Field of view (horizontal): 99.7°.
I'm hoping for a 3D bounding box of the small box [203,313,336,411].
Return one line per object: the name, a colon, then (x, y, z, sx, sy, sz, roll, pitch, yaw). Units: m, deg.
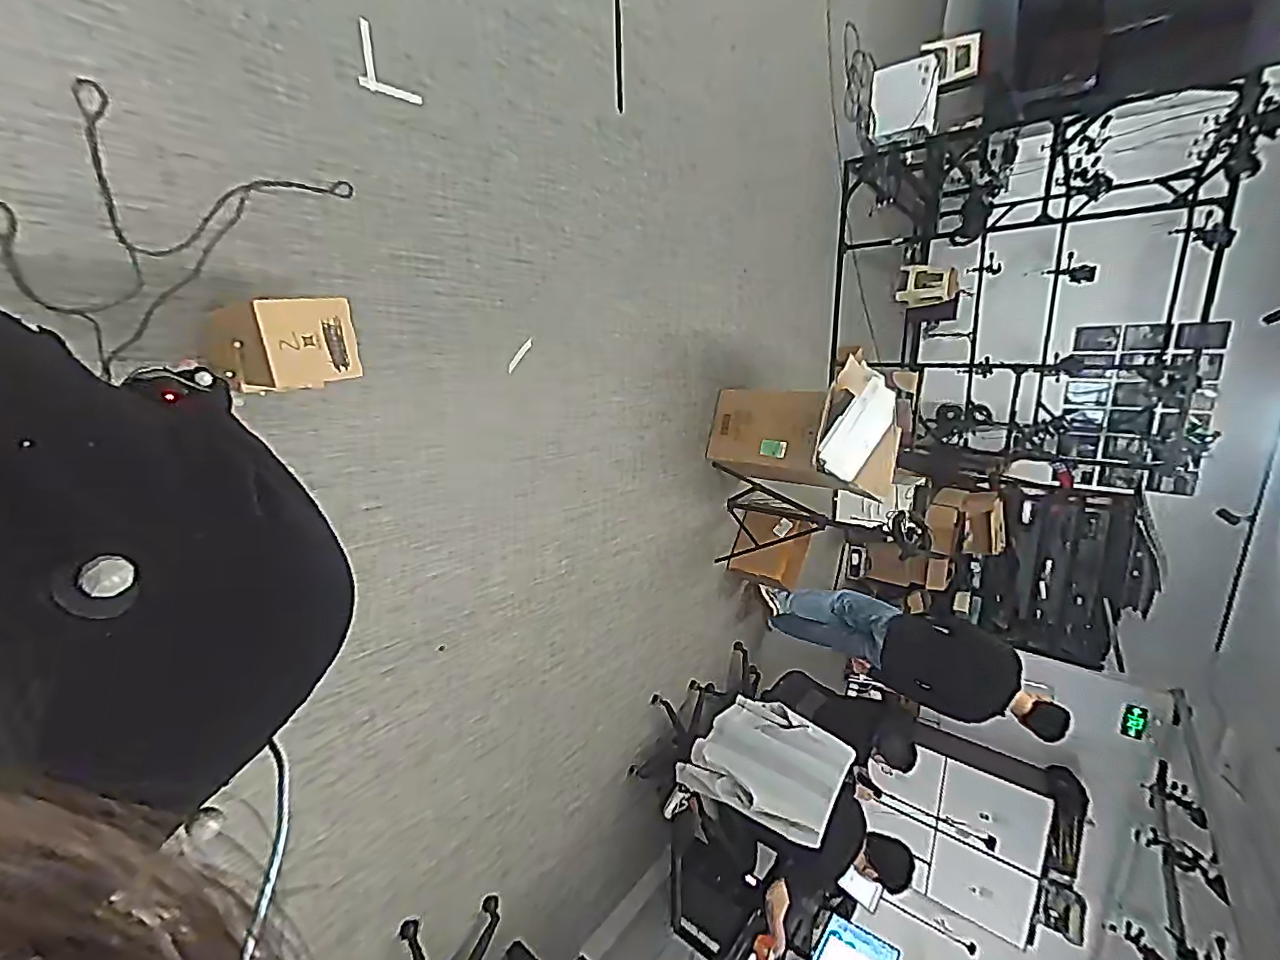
small box: (-0.822, -0.266, 1.214, 0.179, 0.176, 0.168, -43, 150, -61)
